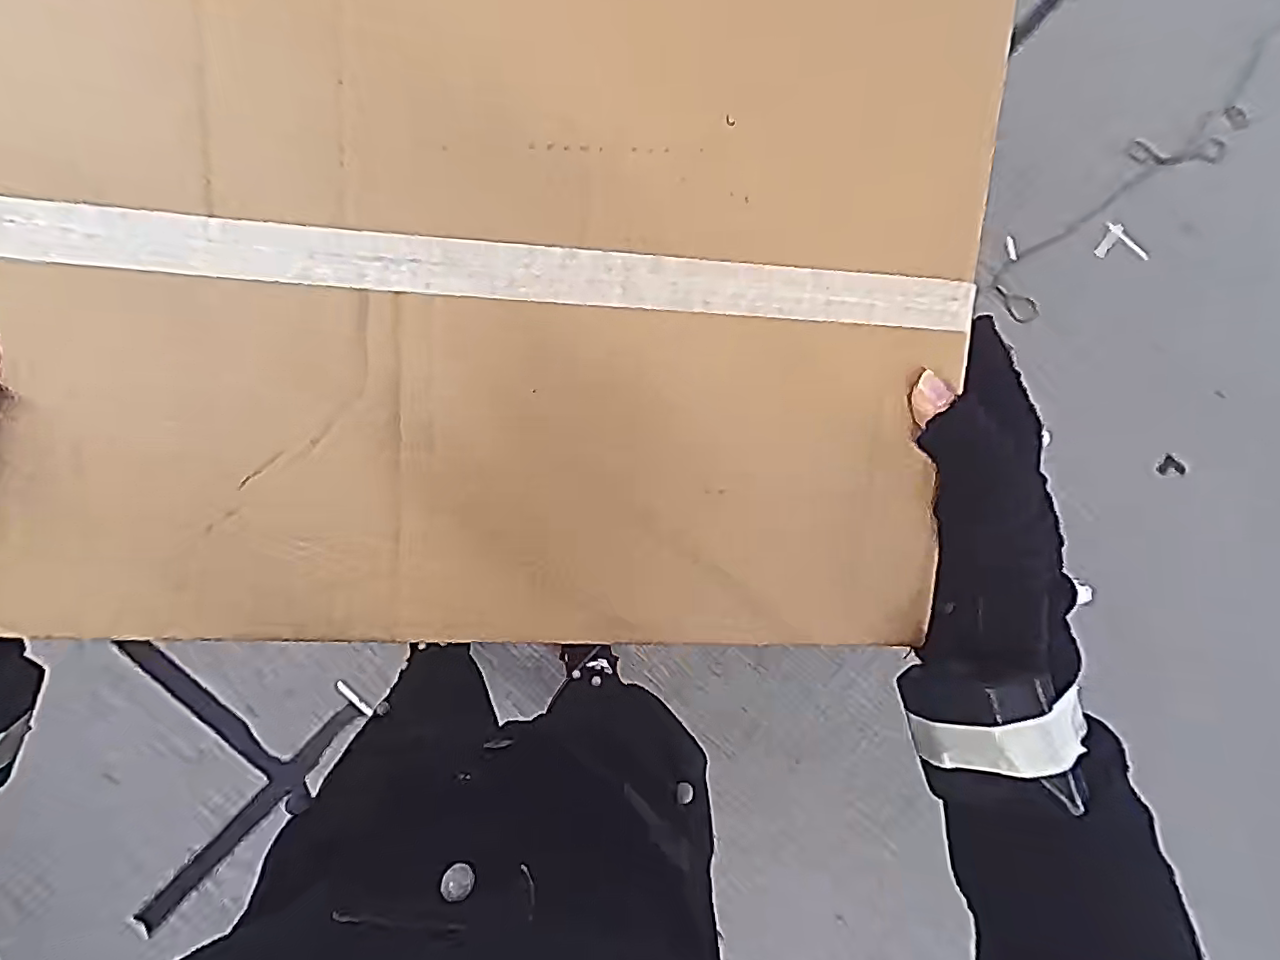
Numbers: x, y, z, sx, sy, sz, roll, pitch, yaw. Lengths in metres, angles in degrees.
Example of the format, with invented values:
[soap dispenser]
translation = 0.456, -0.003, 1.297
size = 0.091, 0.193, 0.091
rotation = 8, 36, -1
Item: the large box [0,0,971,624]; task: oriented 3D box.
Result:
[large box]
translation = -0.076, -0.109, 0.374
size = 0.408, 0.320, 0.320
rotation = 2, 98, -7
